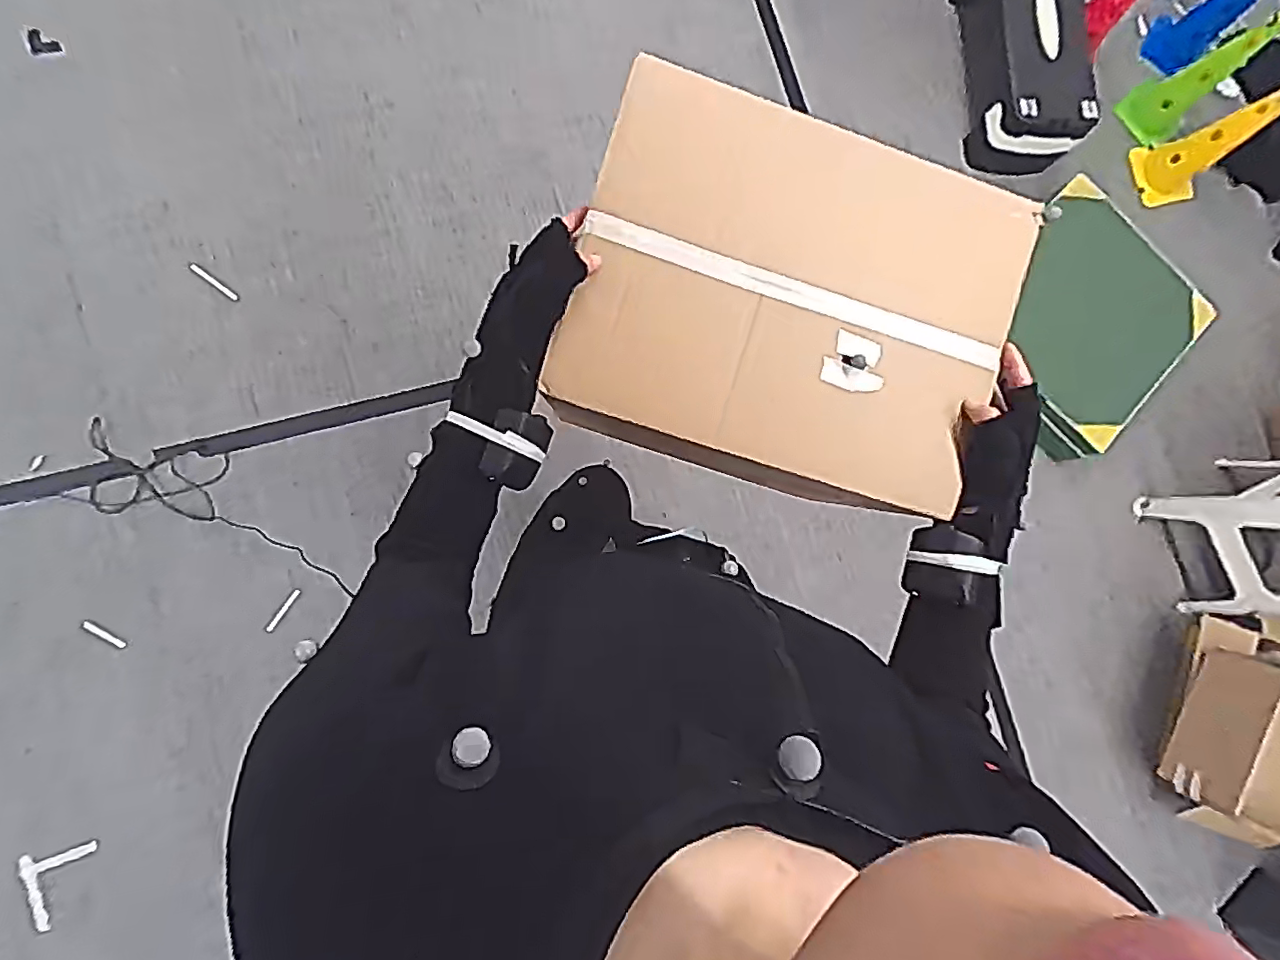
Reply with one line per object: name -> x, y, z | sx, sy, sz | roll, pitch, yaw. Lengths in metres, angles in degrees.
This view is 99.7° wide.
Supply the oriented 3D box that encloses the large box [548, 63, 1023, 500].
large box -> 0.128, -0.184, 0.654 | 0.408, 0.320, 0.320 | 17, 91, -6
